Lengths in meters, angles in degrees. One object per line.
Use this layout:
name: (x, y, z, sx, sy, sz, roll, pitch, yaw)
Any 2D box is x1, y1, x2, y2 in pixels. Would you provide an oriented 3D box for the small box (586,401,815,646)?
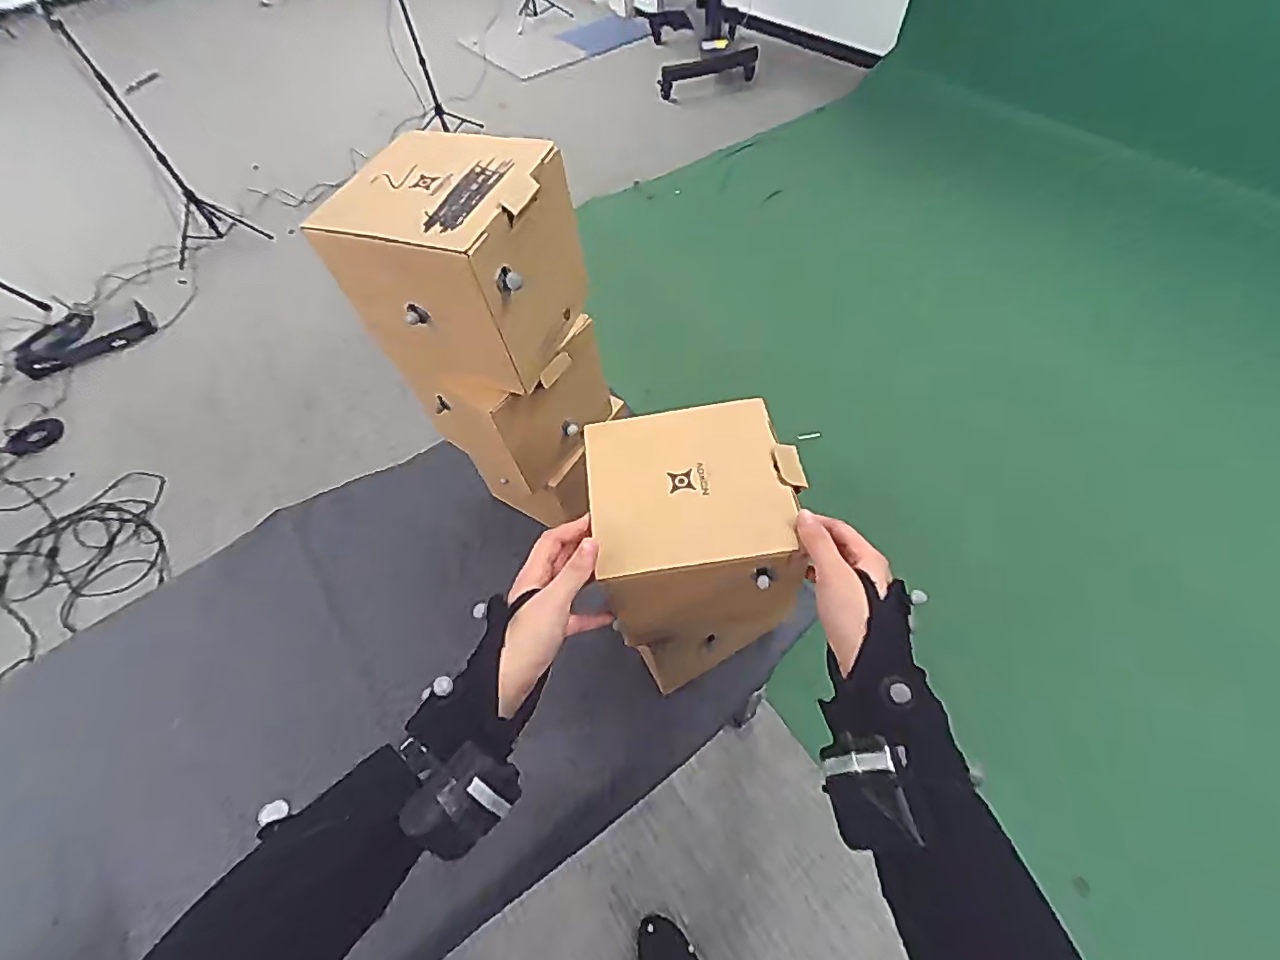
small box: (0.052, 0.050, 0.526, 0.179, 0.176, 0.168, -9, 55, 2)

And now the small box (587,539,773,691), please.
small box: (0.060, 0.133, 0.671, 0.179, 0.176, 0.168, -29, 55, -10)

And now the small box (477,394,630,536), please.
small box: (-0.125, -0.042, 0.814, 0.179, 0.176, 0.168, 27, 65, 20)

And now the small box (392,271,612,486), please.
small box: (-0.157, -0.120, 0.671, 0.179, 0.176, 0.168, 30, 67, 23)
